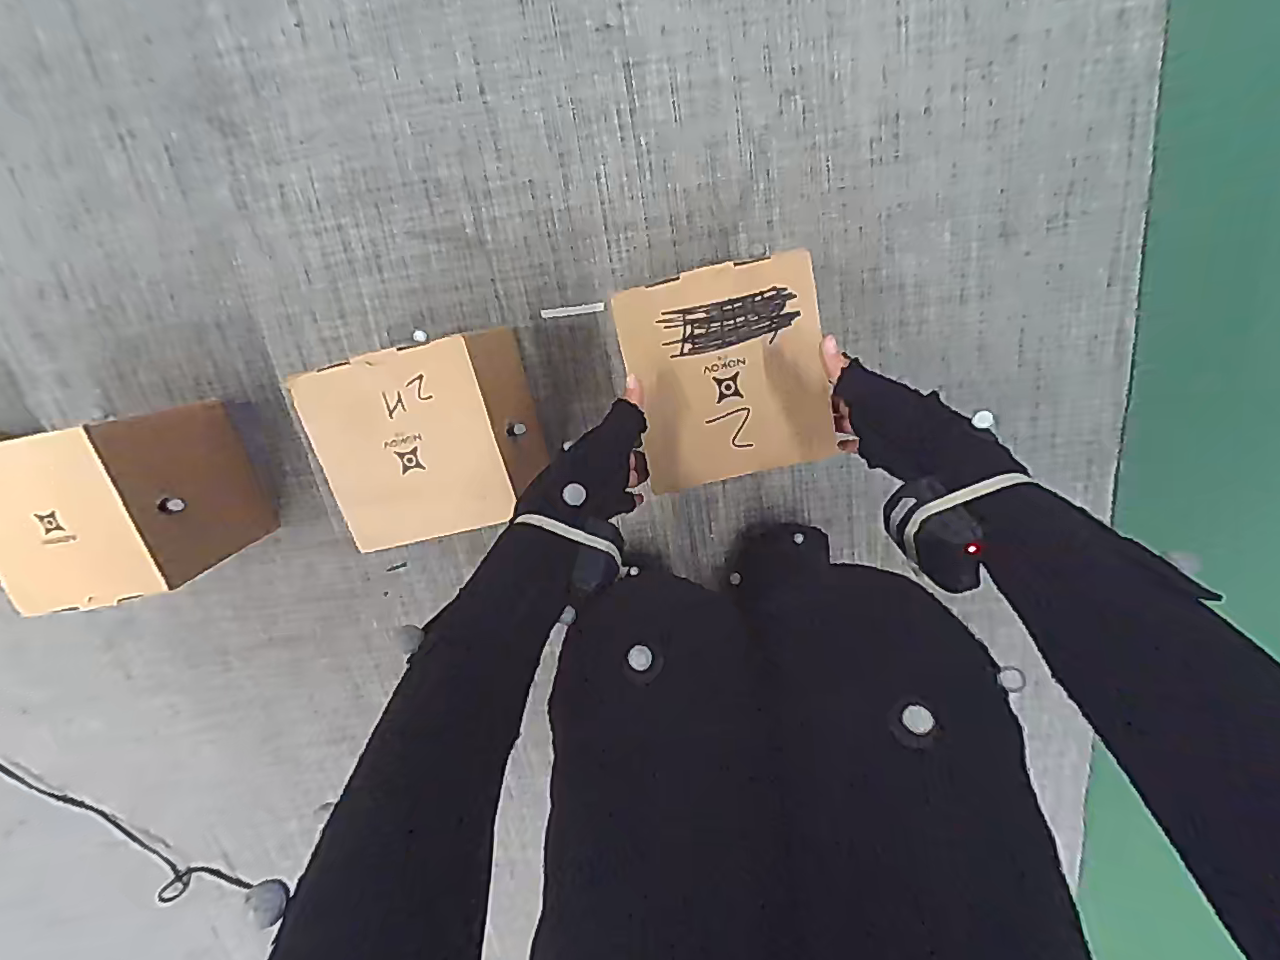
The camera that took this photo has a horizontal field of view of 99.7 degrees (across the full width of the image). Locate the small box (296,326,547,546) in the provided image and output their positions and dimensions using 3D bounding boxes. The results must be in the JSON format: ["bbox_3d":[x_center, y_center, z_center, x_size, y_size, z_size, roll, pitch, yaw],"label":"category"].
[{"bbox_3d":[-0.207,-0.056,0.574,0.168,0.176,0.179,-13,108,4],"label":"small box"}]

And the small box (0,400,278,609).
[{"bbox_3d":[-0.559,0.014,0.603,0.168,0.176,0.179,-11,108,5],"label":"small box"}]
